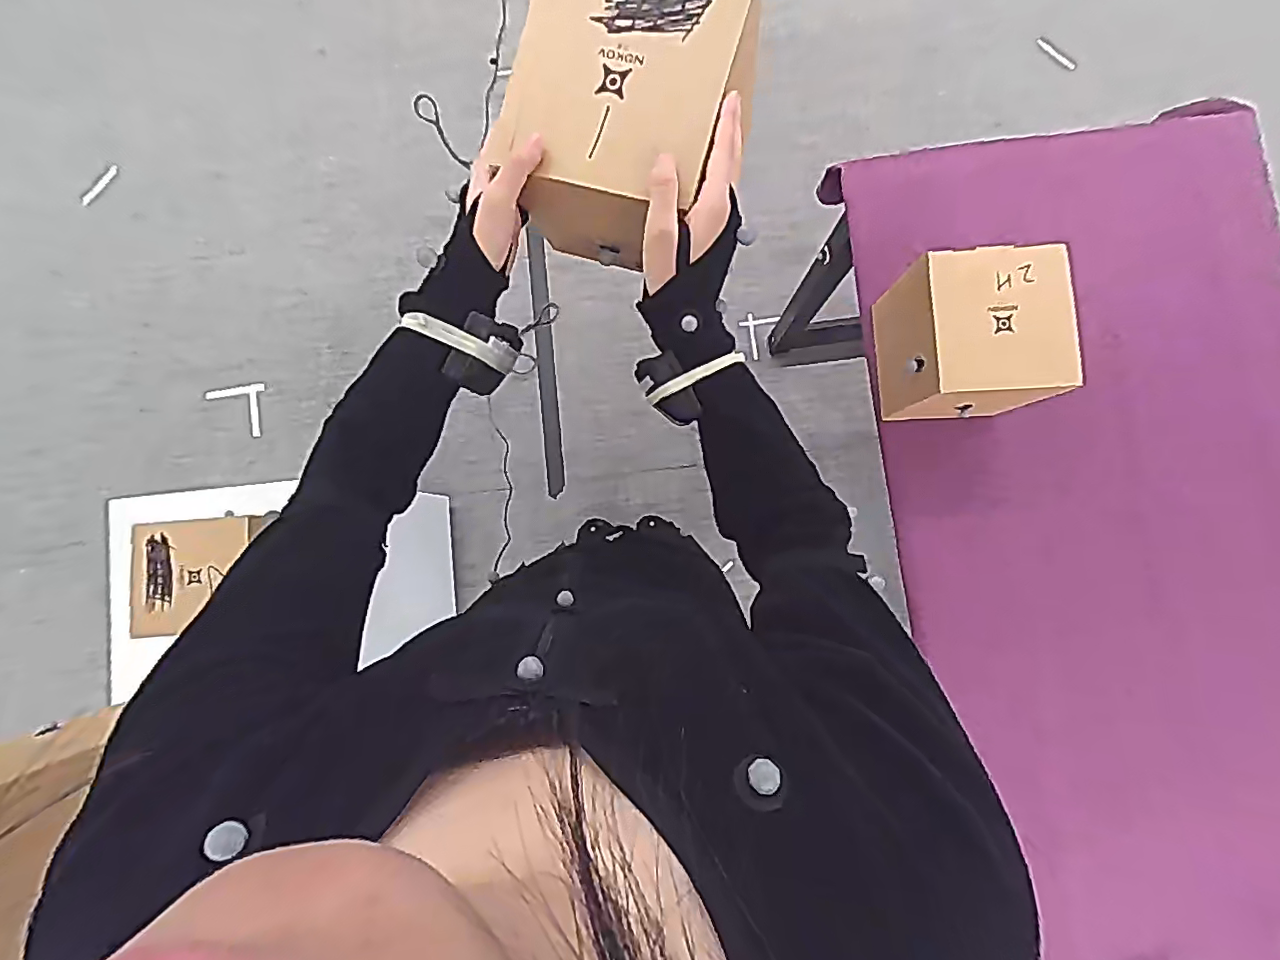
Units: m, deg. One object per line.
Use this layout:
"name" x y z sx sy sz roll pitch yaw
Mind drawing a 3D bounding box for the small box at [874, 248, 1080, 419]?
"small box" 0.427 -0.179 0.714 0.168 0.176 0.179 -3 84 1

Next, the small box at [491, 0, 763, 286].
"small box" -0.002 -0.299 0.476 0.168 0.176 0.179 17 94 8

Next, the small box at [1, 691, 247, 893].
"small box" -0.617 0.370 0.660 0.179 0.176 0.168 -7 84 1

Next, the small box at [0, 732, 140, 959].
"small box" -0.623 0.353 0.498 0.179 0.176 0.168 -7 85 0
